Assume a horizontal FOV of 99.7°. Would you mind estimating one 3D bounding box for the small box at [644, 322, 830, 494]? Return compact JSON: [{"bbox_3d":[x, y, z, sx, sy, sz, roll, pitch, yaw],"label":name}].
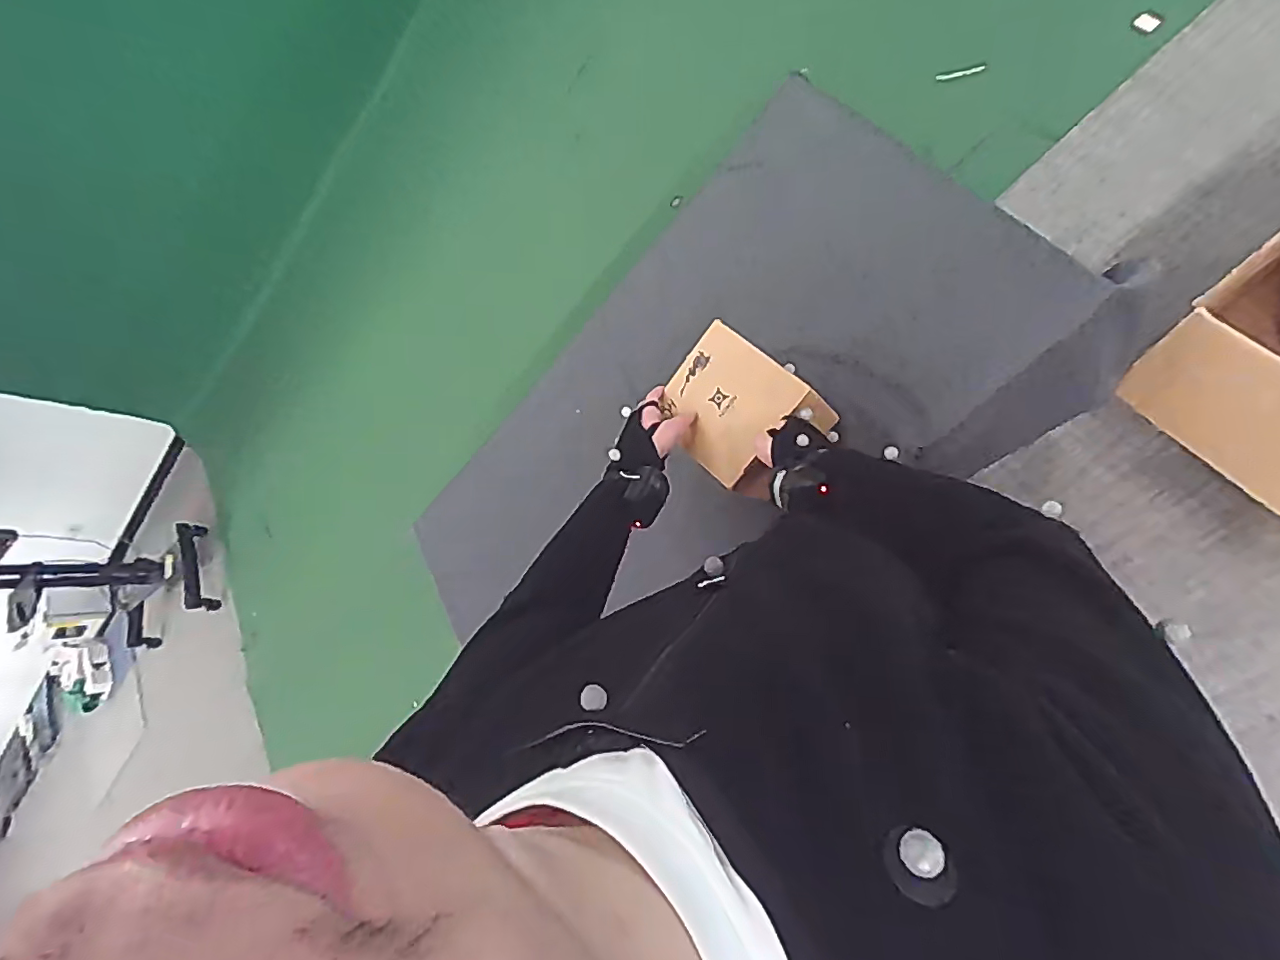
[{"bbox_3d":[0.147,-0.093,0.783,0.179,0.176,0.168,45,106,26],"label":"small box"}]
